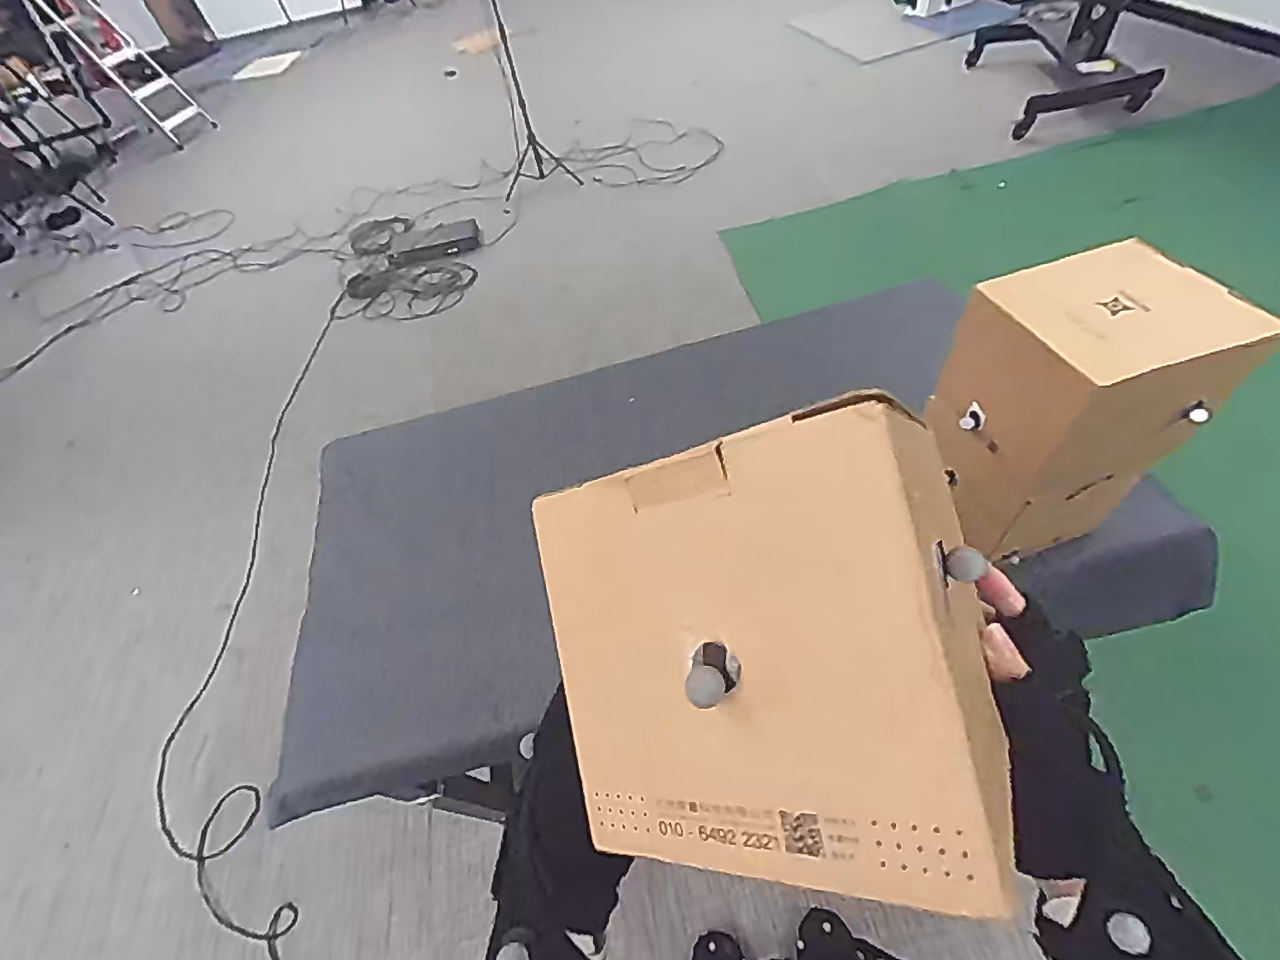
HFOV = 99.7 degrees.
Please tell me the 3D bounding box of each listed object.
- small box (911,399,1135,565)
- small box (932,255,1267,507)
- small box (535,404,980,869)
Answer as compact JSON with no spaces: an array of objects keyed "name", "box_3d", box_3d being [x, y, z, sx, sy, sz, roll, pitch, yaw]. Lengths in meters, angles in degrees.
[{"name":"small box","box_3d":[0.469,-0.009,0.701,0.168,0.176,0.179,-18,51,-4]},{"name":"small box","box_3d":[0.447,-0.099,0.569,0.179,0.176,0.168,-17,50,-1]},{"name":"small box","box_3d":[0.073,0.070,0.296,0.168,0.179,0.176,-14,83,31]}]
